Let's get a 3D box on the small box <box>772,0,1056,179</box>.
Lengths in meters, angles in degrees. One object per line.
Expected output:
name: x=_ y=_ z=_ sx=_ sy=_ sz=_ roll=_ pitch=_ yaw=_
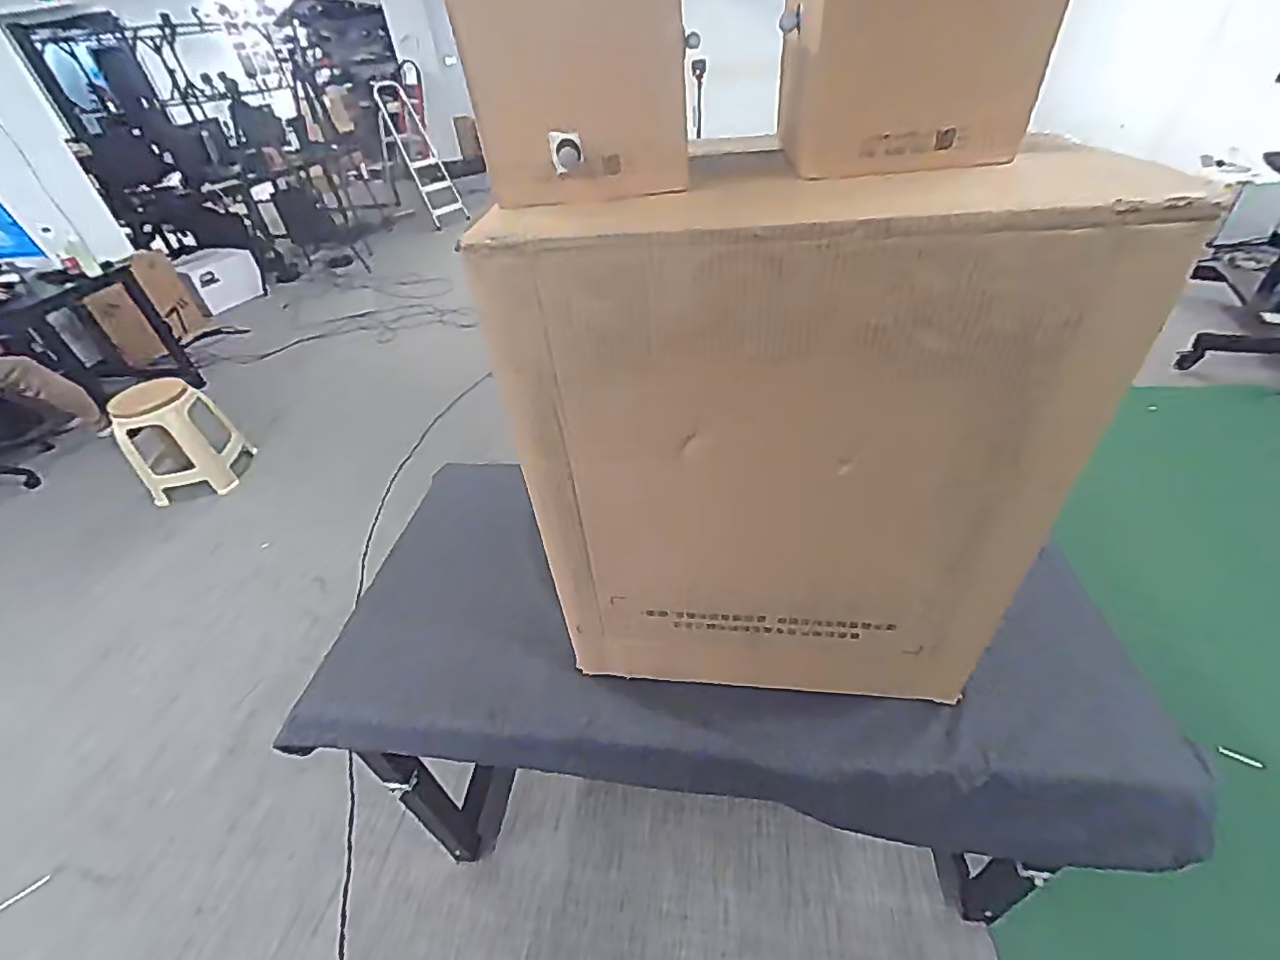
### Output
small box: x=0.205 y=-0.361 z=0.443 sx=0.168 sy=0.176 sz=0.179 roll=-3 pitch=41 yaw=6

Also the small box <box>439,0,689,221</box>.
small box: x=-0.048 y=-0.342 z=0.467 sx=0.168 sy=0.176 sz=0.179 roll=-5 pitch=42 yaw=8
